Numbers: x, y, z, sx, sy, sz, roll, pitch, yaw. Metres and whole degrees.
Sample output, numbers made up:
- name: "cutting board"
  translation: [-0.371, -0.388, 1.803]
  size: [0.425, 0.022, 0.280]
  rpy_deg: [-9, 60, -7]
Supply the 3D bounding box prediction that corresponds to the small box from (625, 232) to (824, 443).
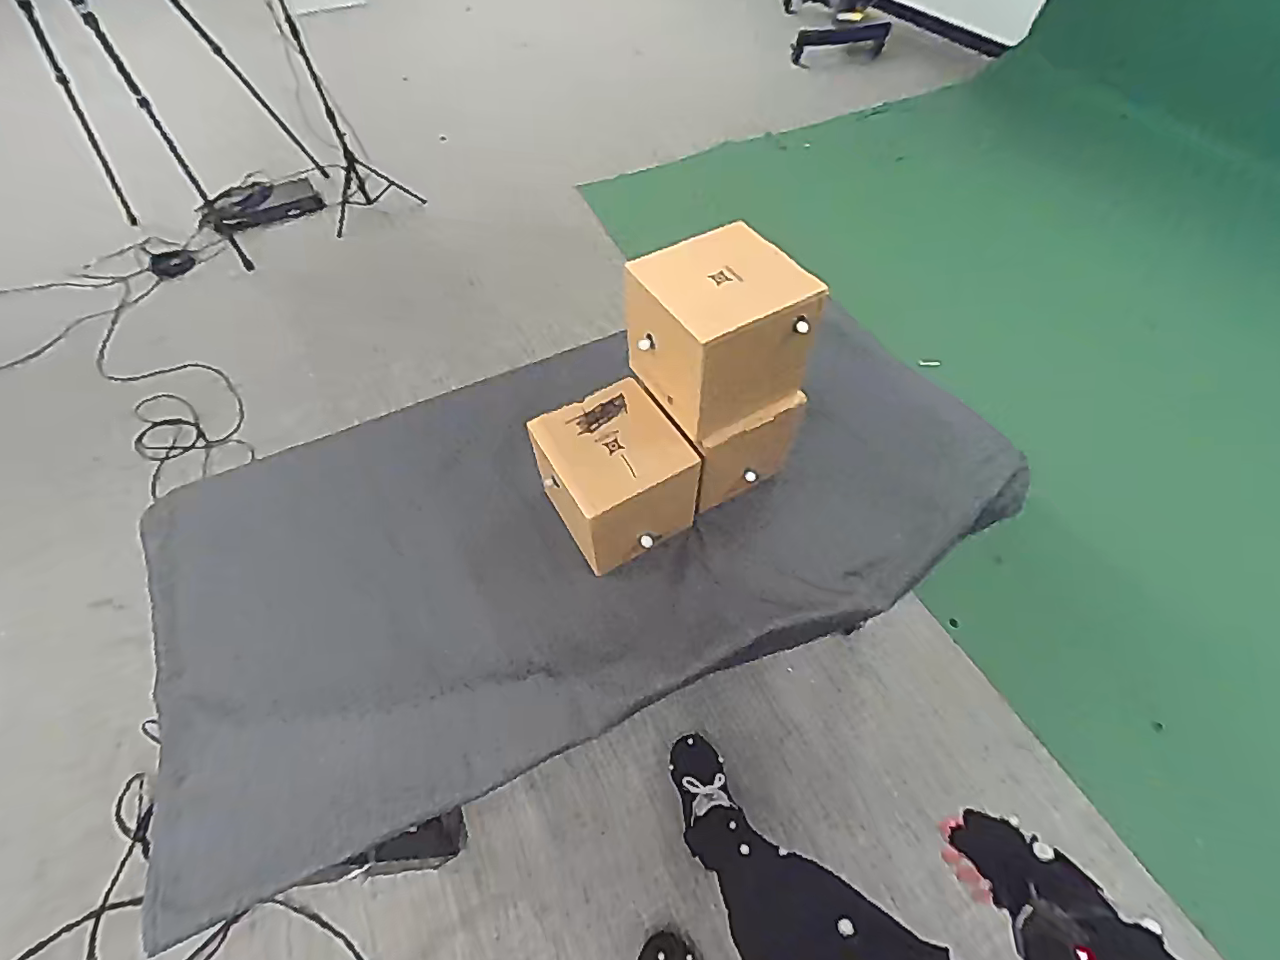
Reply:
- name: "small box"
  translation: [0.098, -0.176, 0.687]
  size: [0.179, 0.176, 0.168]
  rpy_deg: [-27, 58, -17]
